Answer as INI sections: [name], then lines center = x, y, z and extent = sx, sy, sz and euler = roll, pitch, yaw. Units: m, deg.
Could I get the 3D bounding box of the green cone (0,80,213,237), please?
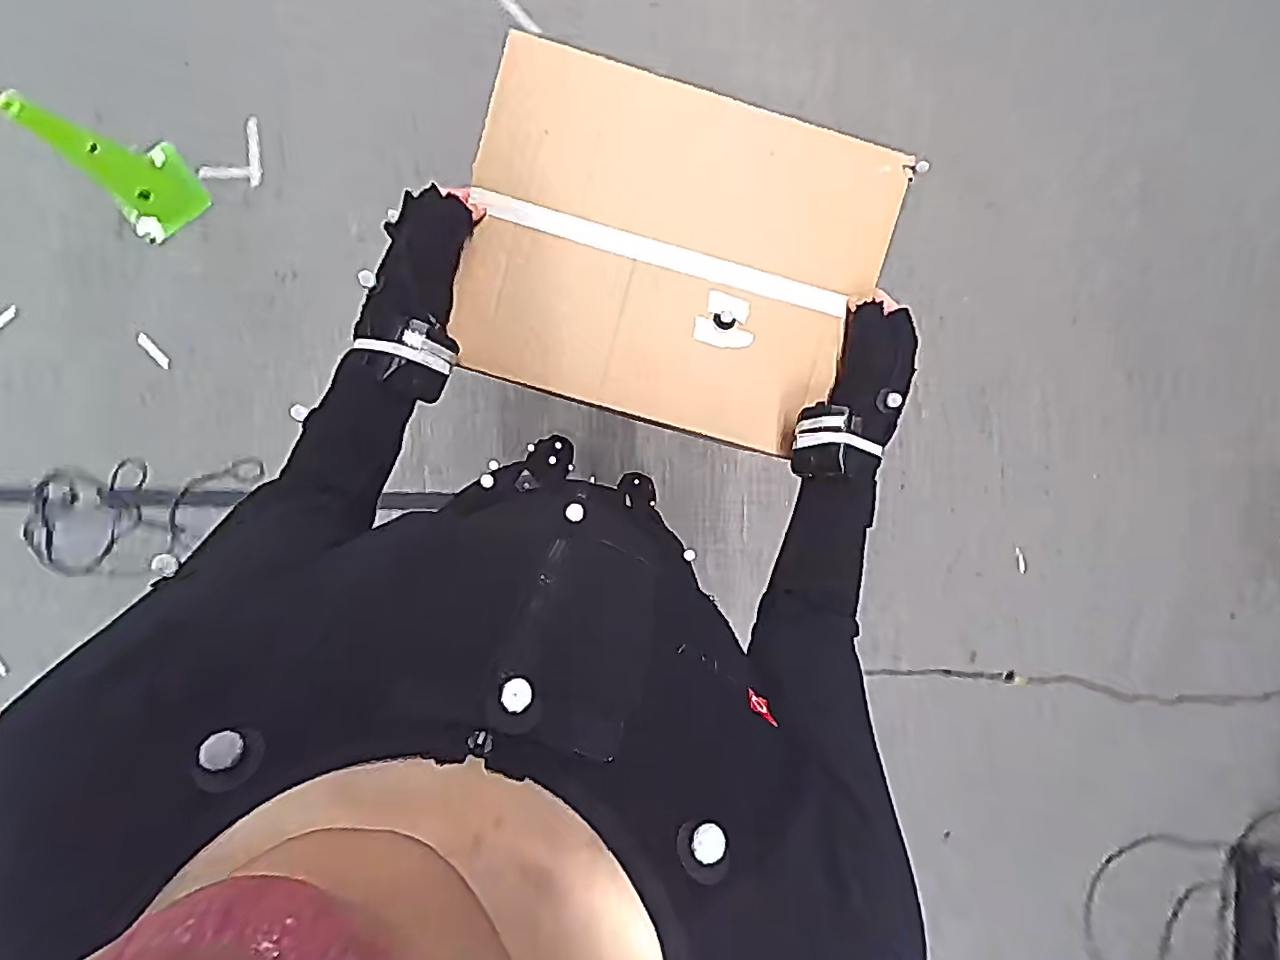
[green cone]
center = -1.234, -0.759, 1.234
extent = 0.200, 0.368, 0.202
euler = -37, 91, -2

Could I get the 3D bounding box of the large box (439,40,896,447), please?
[large box]
center = 0.019, -0.239, 0.680
extent = 0.408, 0.320, 0.320
euler = 14, 96, -4
